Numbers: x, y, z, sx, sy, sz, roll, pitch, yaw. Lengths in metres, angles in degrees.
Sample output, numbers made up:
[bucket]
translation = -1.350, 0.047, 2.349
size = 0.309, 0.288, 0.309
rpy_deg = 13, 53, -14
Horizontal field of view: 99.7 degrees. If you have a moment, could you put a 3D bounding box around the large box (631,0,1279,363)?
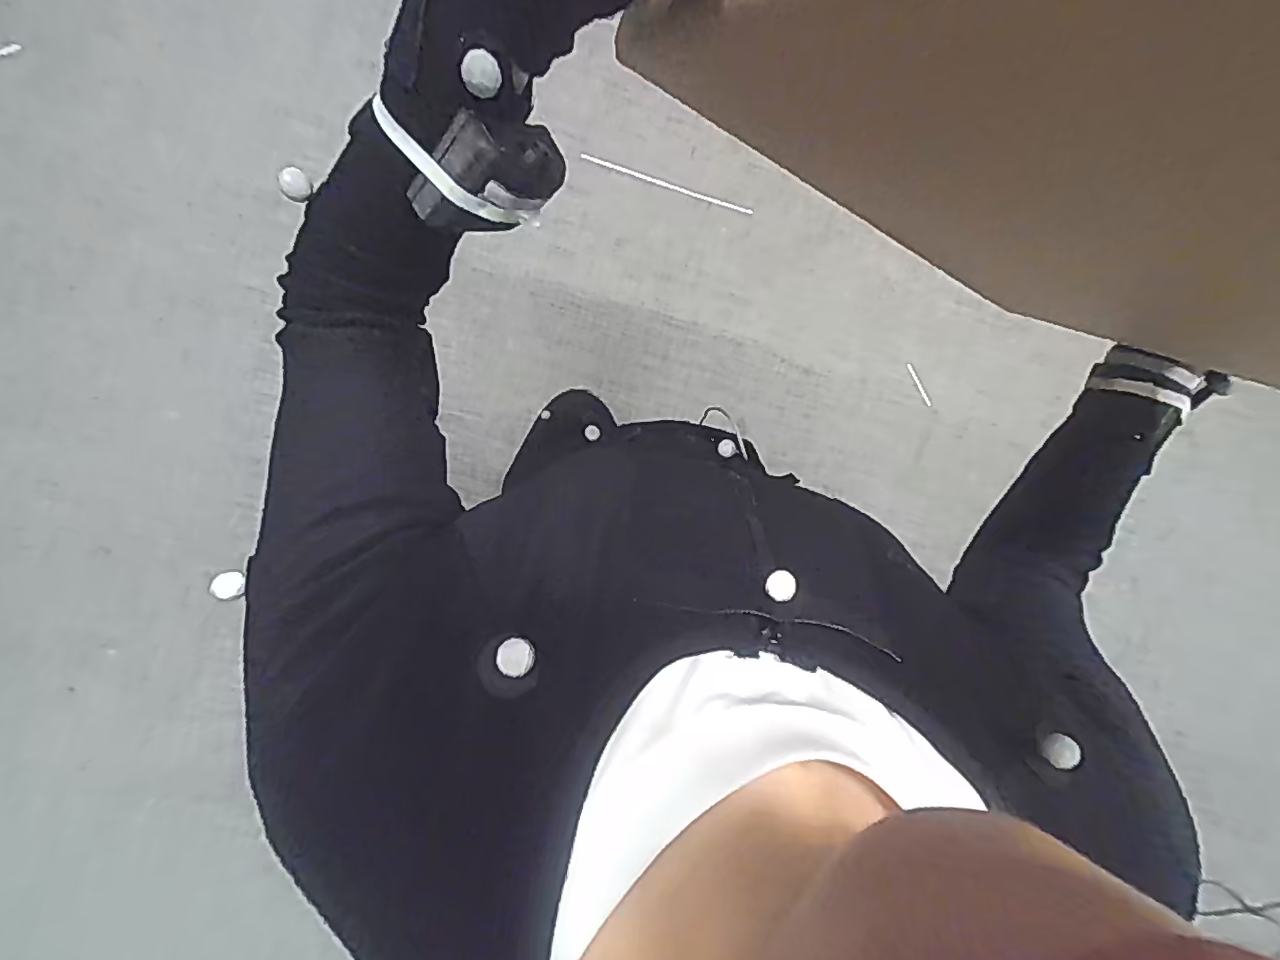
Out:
[large box]
translation = 0.267, -0.248, 0.204
size = 0.408, 0.320, 0.320
rpy_deg = 11, 116, -30
